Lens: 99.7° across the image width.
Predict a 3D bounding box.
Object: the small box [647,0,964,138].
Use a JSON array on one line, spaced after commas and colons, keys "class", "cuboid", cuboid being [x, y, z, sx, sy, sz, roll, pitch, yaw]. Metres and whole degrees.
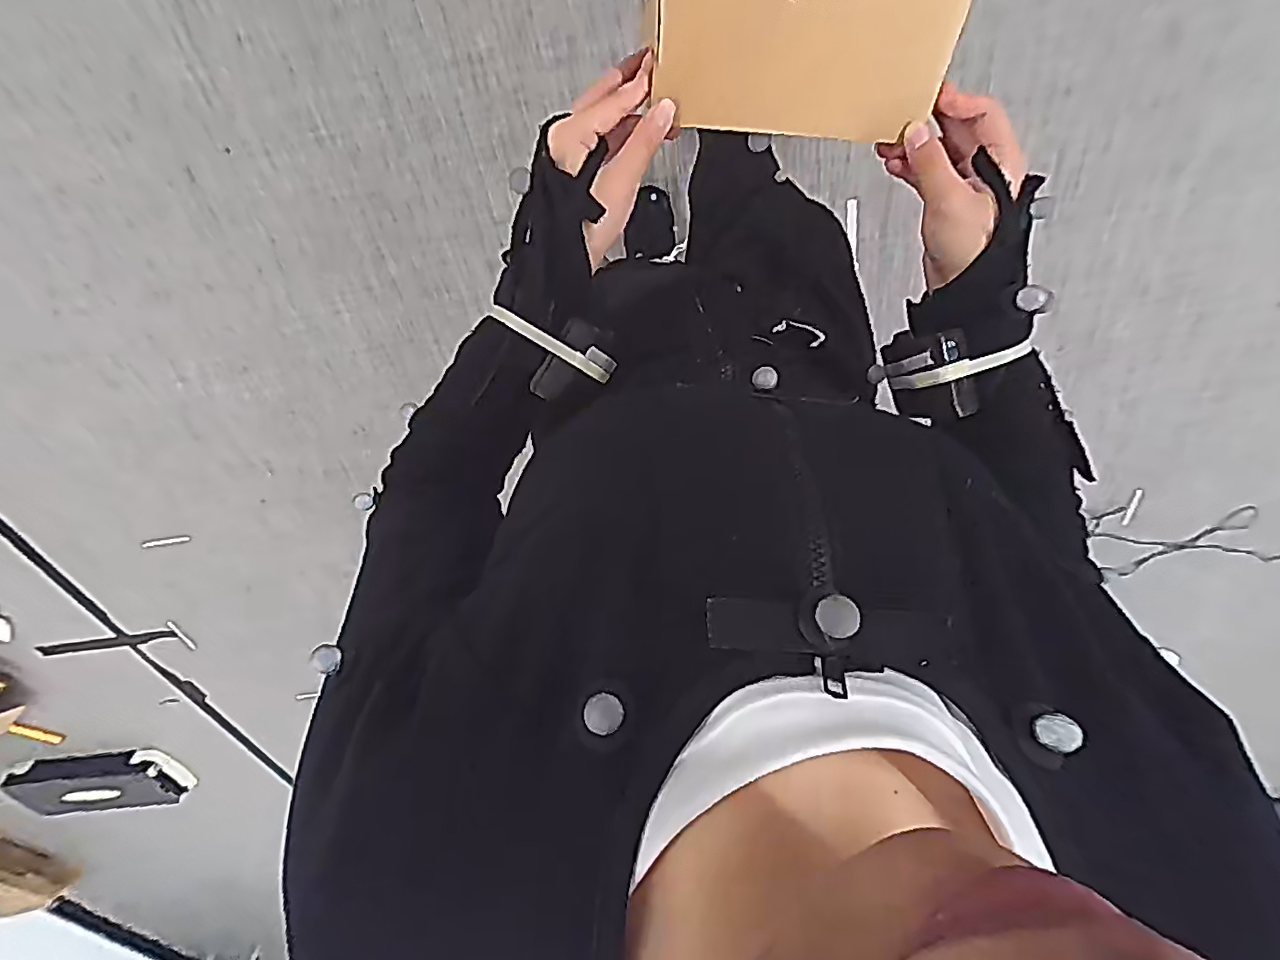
[{"class": "small box", "cuboid": [0.099, -0.341, 0.350, 0.179, 0.176, 0.168, 3, 133, -3]}]
